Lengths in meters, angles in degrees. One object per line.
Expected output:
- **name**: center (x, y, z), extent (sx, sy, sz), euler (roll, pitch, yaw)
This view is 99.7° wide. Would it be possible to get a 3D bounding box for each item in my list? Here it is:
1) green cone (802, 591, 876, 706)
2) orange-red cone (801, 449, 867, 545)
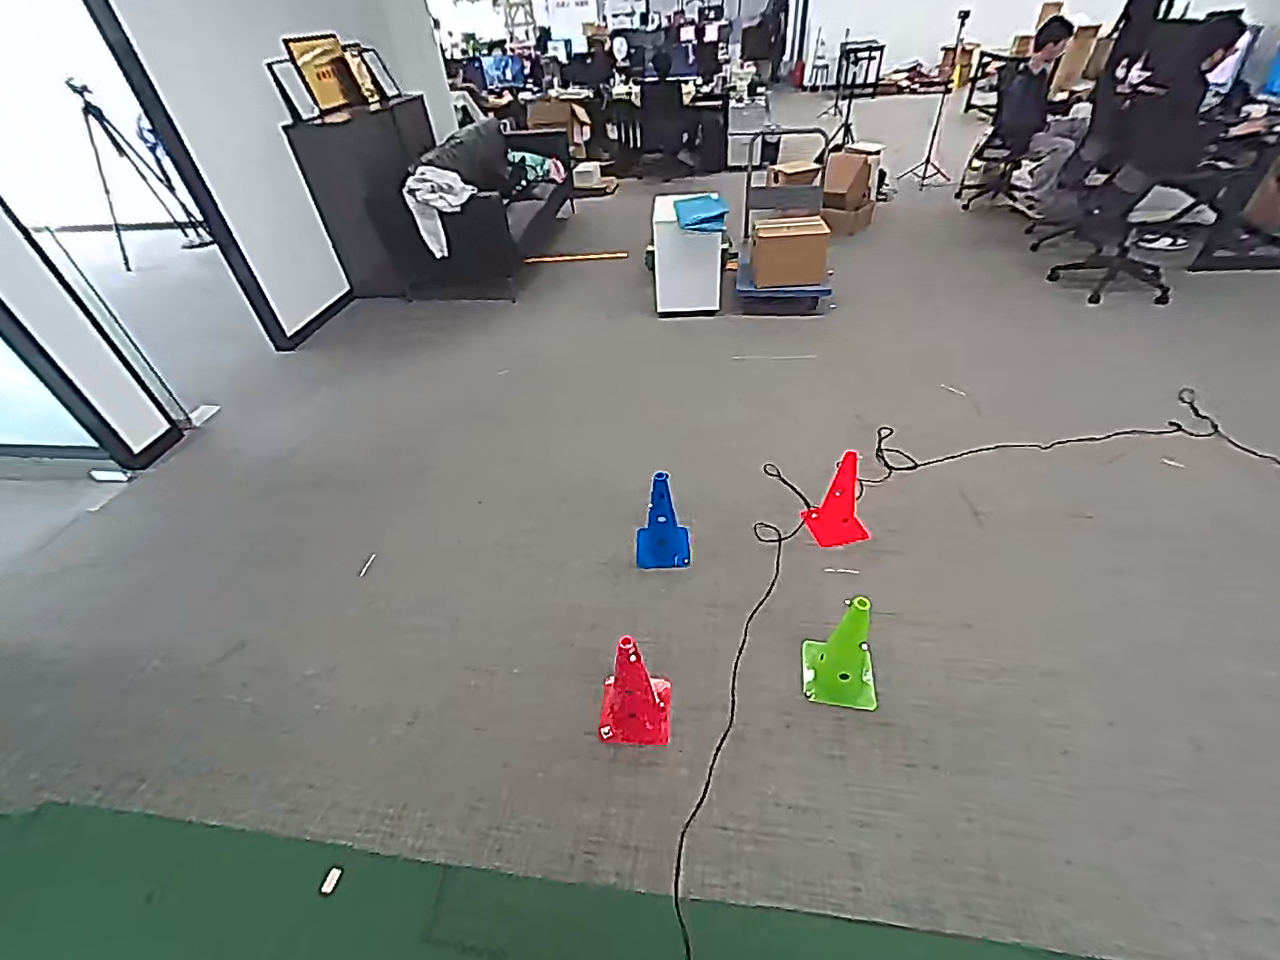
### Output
- **green cone**: center (0.582, 0.440, 1.502), extent (0.200, 0.368, 0.202), euler (4, 41, 10)
- **orange-red cone**: center (0.726, 0.038, 1.952), extent (0.198, 0.360, 0.199), euler (-10, 43, -5)
